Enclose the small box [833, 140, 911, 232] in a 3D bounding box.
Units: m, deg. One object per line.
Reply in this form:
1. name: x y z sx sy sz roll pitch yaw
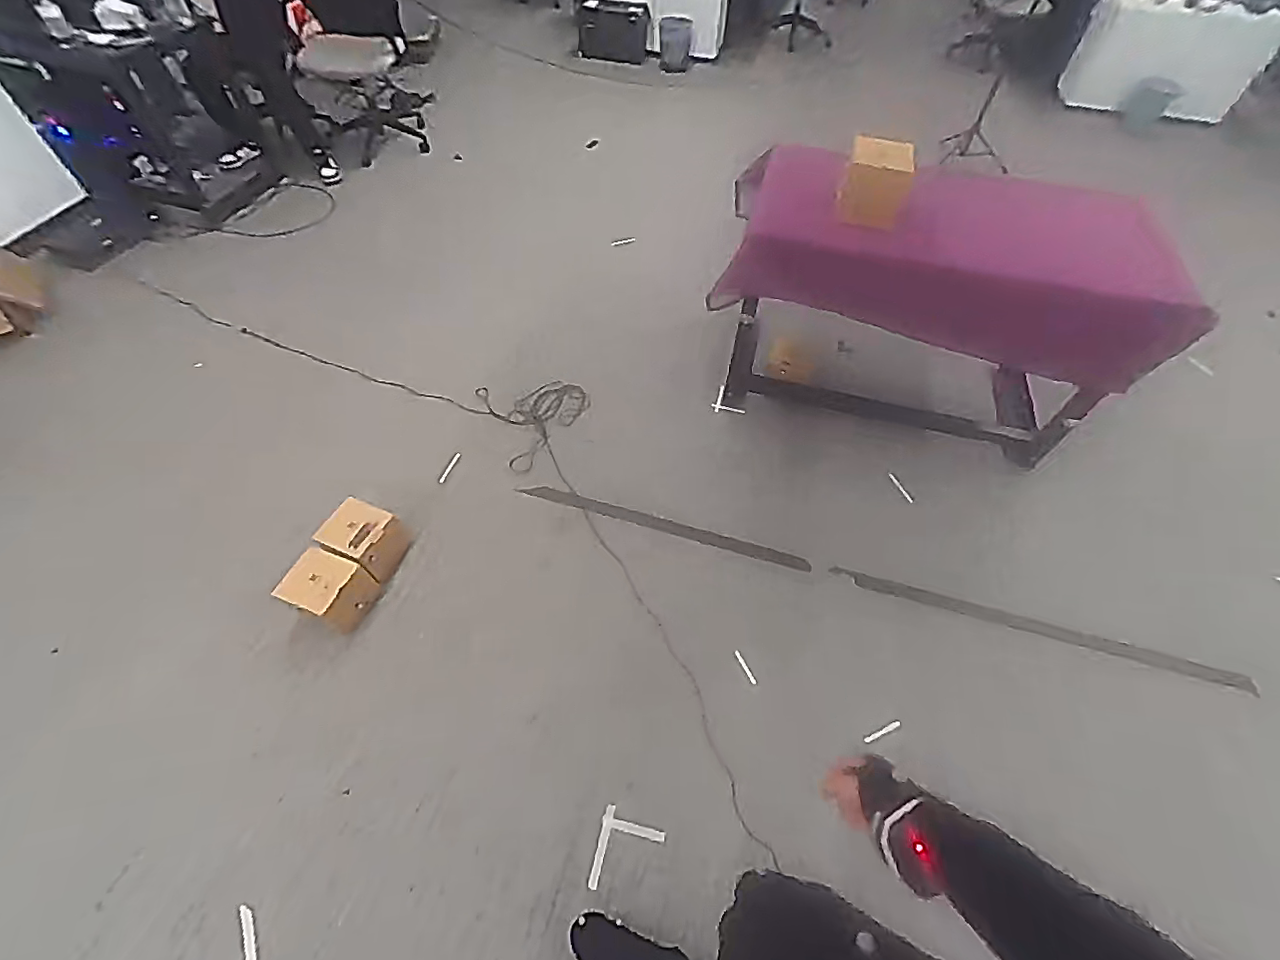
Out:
1. small box: 0.681 -0.867 1.598 0.168 0.176 0.179 14 56 8
